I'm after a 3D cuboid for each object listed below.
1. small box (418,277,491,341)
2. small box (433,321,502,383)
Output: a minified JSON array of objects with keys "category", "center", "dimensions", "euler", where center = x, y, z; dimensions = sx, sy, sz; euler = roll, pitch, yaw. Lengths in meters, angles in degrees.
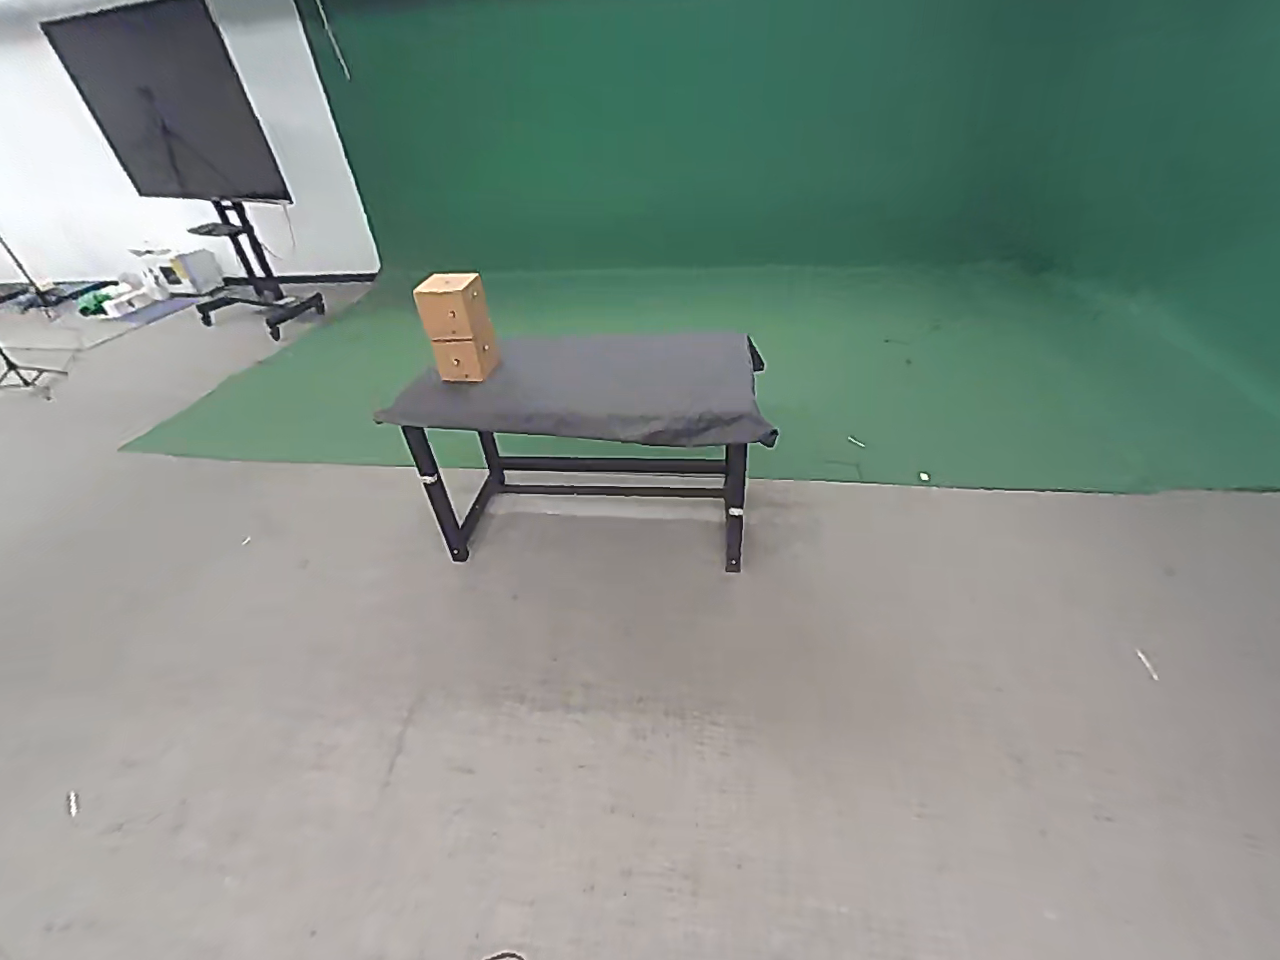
[{"category":"small box","center":[-0.629,-0.586,1.859],"dimensions":[0.168,0.176,0.179],"euler":[3,37,6]},{"category":"small box","center":[-0.619,-0.465,1.969],"dimensions":[0.168,0.176,0.179],"euler":[4,38,8]}]
